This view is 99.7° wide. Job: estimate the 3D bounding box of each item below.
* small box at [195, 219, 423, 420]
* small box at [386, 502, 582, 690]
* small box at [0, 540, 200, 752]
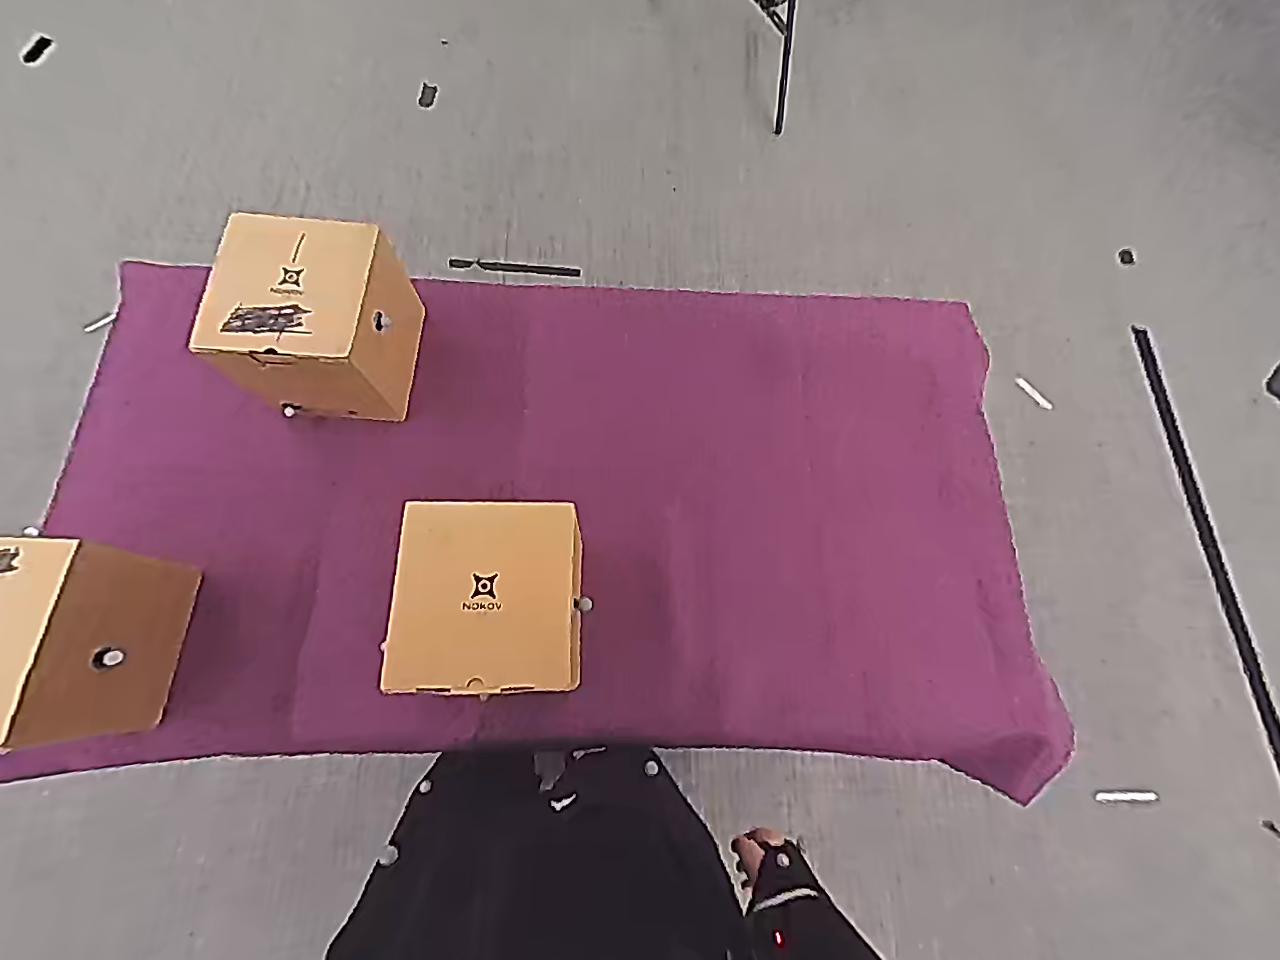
[{"bbox_3d":[-0.385,-0.186,0.668,0.168,0.176,0.179,4,73,-3],"label":"small box"},{"bbox_3d":[-0.150,0.131,0.584,0.168,0.176,0.179,0,71,-4],"label":"small box"},{"bbox_3d":[-0.596,0.161,0.542,0.168,0.176,0.179,3,72,-4],"label":"small box"}]
